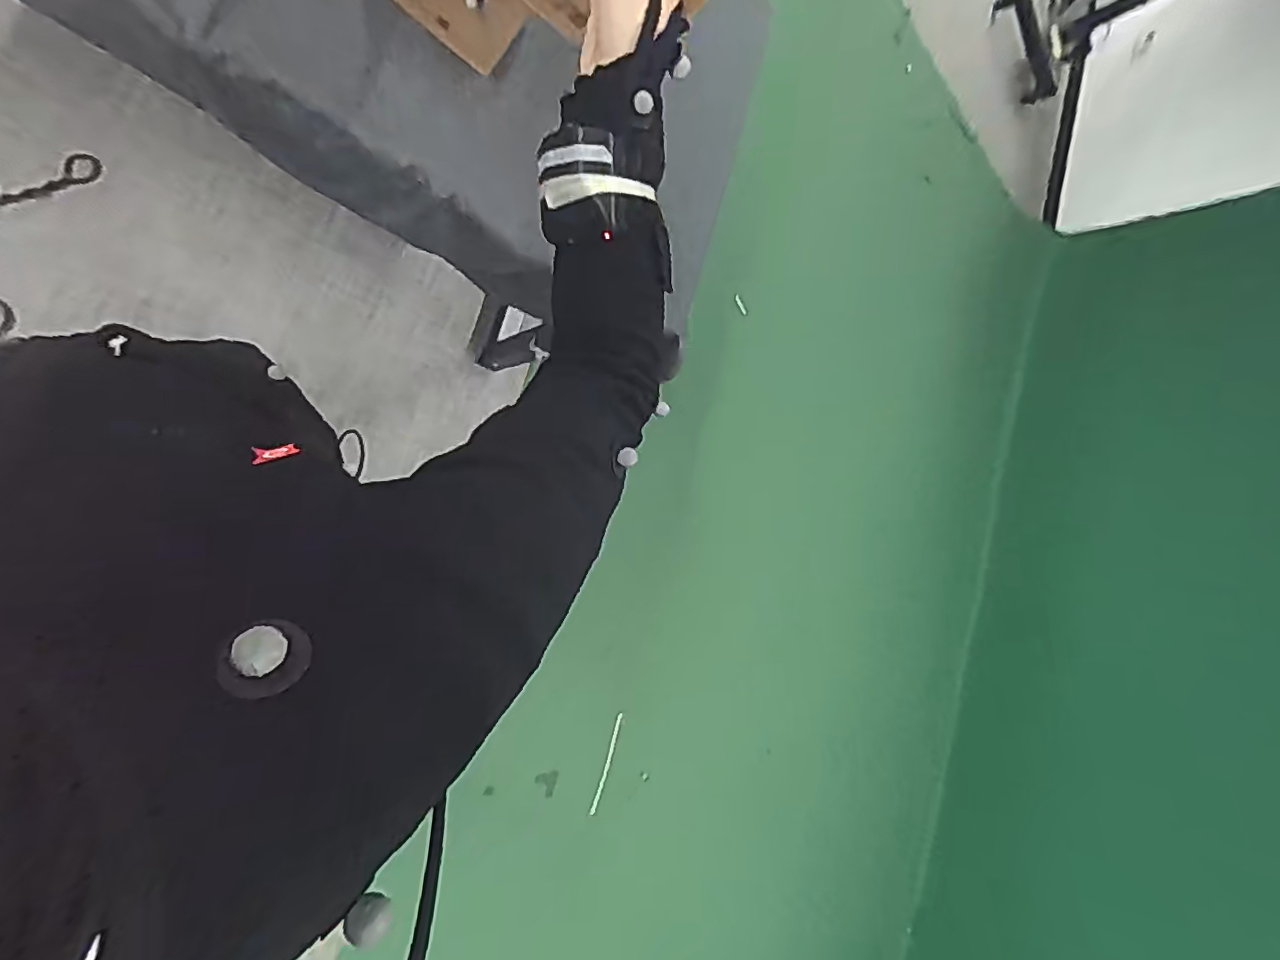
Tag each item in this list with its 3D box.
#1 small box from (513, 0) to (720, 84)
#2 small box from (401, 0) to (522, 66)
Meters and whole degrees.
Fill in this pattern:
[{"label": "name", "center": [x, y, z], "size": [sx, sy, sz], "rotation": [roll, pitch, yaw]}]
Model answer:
[{"label": "small box", "center": [-0.011, -0.443, 0.380], "size": [0.168, 0.176, 0.179], "rotation": [20, 87, -33]}, {"label": "small box", "center": [-0.175, -0.579, 0.541], "size": [0.168, 0.176, 0.179], "rotation": [25, 77, -37]}]
